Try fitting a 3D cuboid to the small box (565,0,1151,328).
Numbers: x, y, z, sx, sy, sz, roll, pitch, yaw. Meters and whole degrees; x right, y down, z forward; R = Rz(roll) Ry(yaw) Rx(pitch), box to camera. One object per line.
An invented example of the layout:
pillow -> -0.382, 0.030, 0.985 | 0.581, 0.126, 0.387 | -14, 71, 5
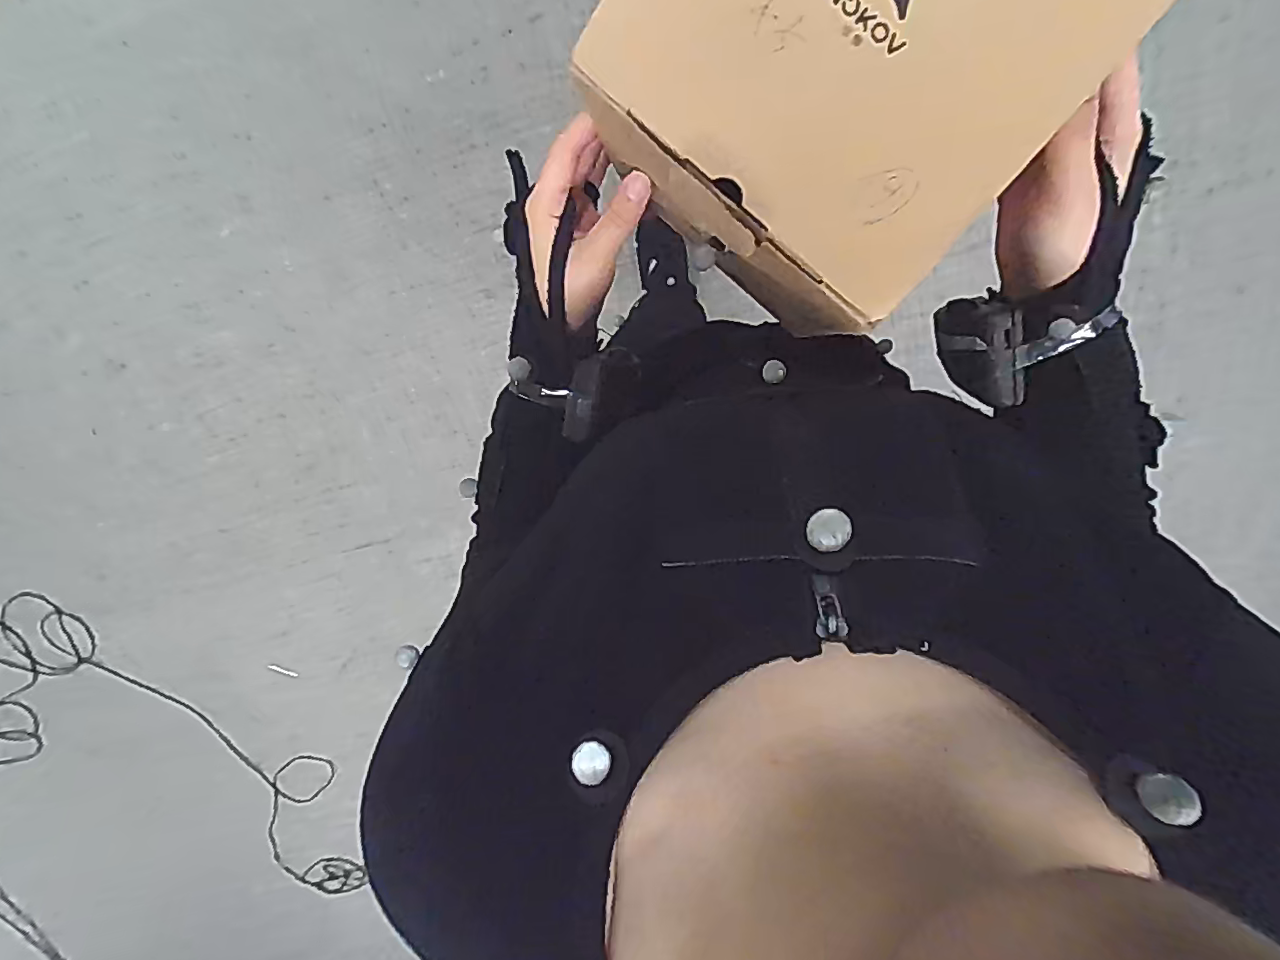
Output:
small box -> 0.092, -0.197, 0.284 | 0.168, 0.176, 0.179 | 39, 105, -4
